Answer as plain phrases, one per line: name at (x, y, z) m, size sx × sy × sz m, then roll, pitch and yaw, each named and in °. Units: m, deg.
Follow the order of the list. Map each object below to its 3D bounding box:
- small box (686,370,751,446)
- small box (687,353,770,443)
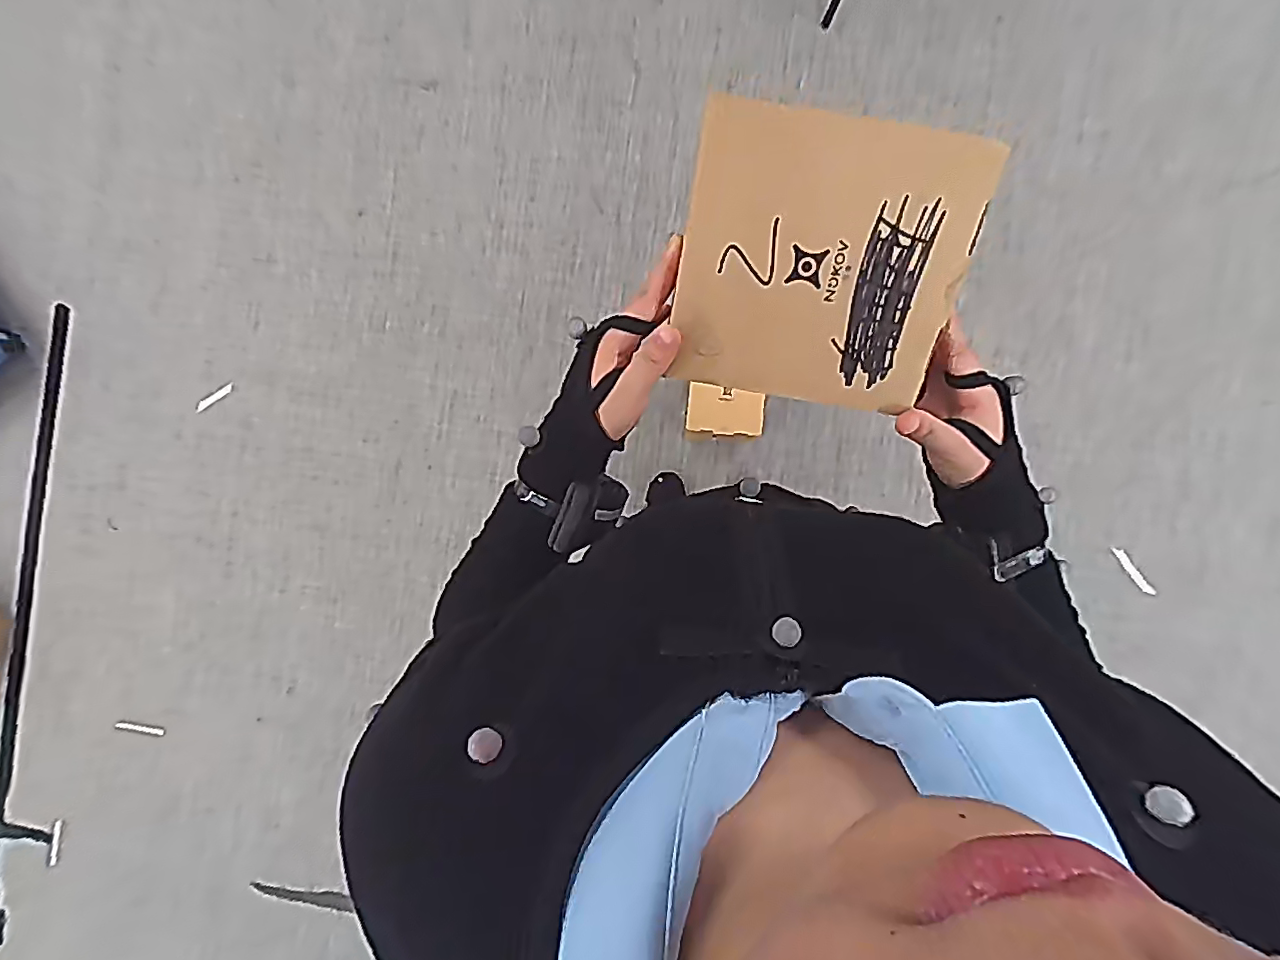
small box at (0.209, -0.183, 1.411) m, size 0.168 × 0.176 × 0.179 m, roll 4°, pitch 90°, yaw 4°
small box at (0.198, -0.184, 1.248) m, size 0.168 × 0.176 × 0.179 m, roll 5°, pitch 91°, yaw 4°
